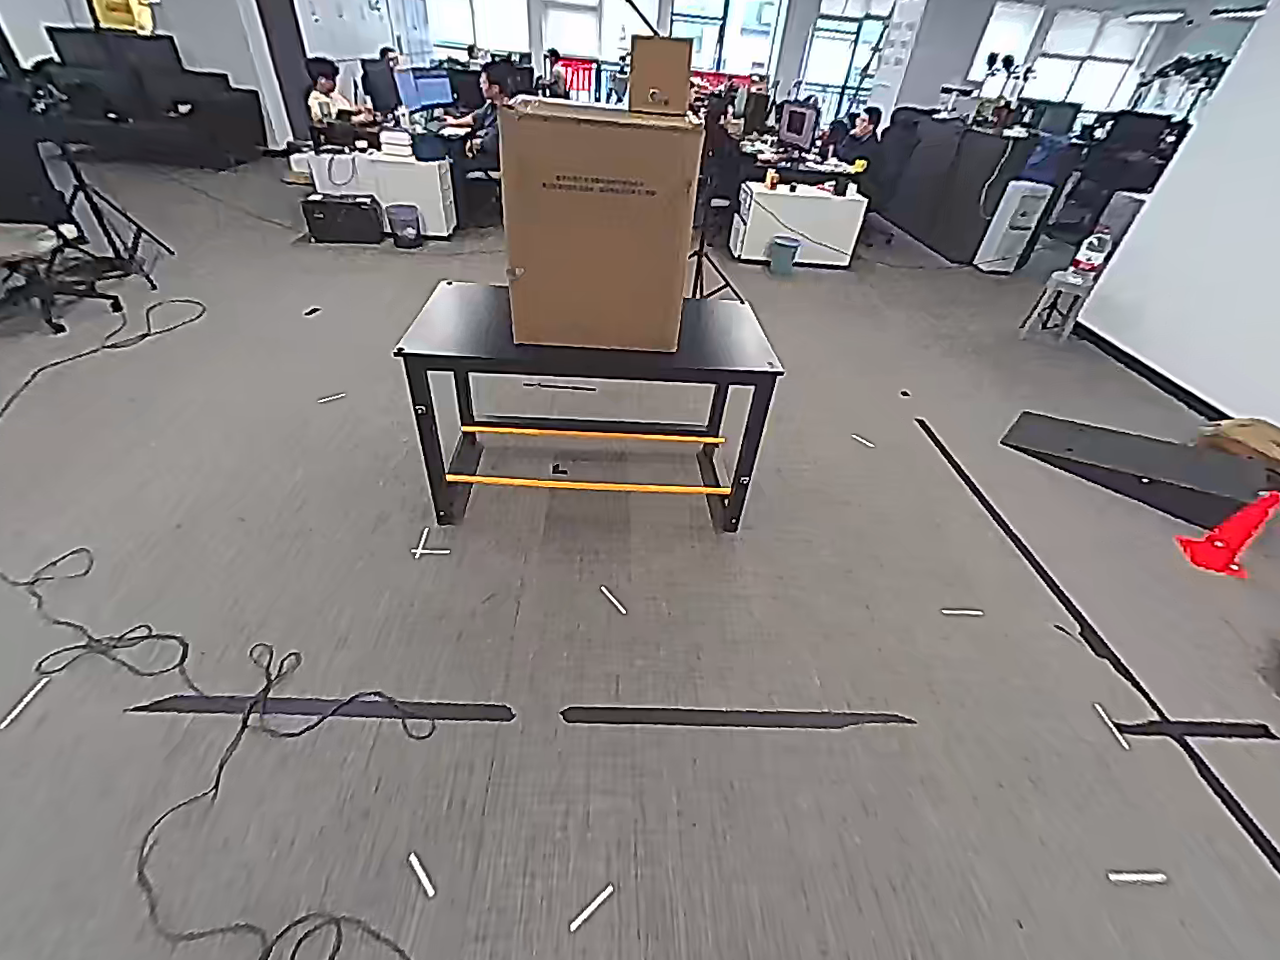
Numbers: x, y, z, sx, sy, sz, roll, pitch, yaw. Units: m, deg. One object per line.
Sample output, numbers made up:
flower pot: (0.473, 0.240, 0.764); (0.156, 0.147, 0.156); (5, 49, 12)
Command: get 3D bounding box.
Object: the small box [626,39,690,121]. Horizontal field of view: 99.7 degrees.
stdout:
small box: (0.045, -1.108, 1.501); (0.168, 0.176, 0.179); (1, 38, -1)
